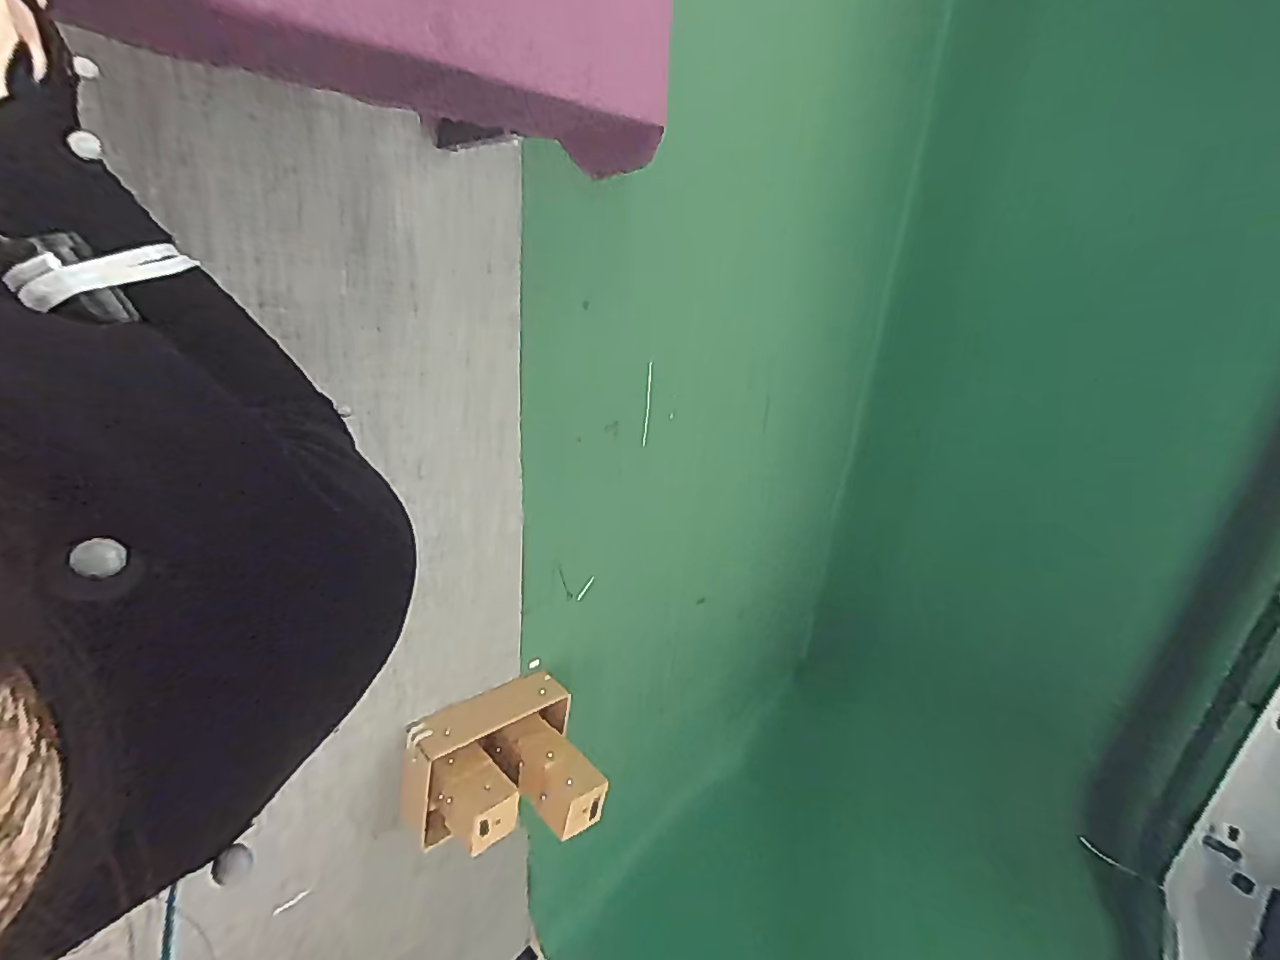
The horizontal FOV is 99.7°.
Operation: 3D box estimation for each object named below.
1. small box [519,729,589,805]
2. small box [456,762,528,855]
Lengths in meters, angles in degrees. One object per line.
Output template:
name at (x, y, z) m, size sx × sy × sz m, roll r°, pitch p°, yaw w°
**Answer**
small box at (-0.325, 1.071, 2.038) m, size 0.179 × 0.176 × 0.168 m, roll 9°, pitch 99°, yaw -47°
small box at (-0.509, 1.114, 1.848) m, size 0.179 × 0.176 × 0.168 m, roll -8°, pitch 112°, yaw -48°
